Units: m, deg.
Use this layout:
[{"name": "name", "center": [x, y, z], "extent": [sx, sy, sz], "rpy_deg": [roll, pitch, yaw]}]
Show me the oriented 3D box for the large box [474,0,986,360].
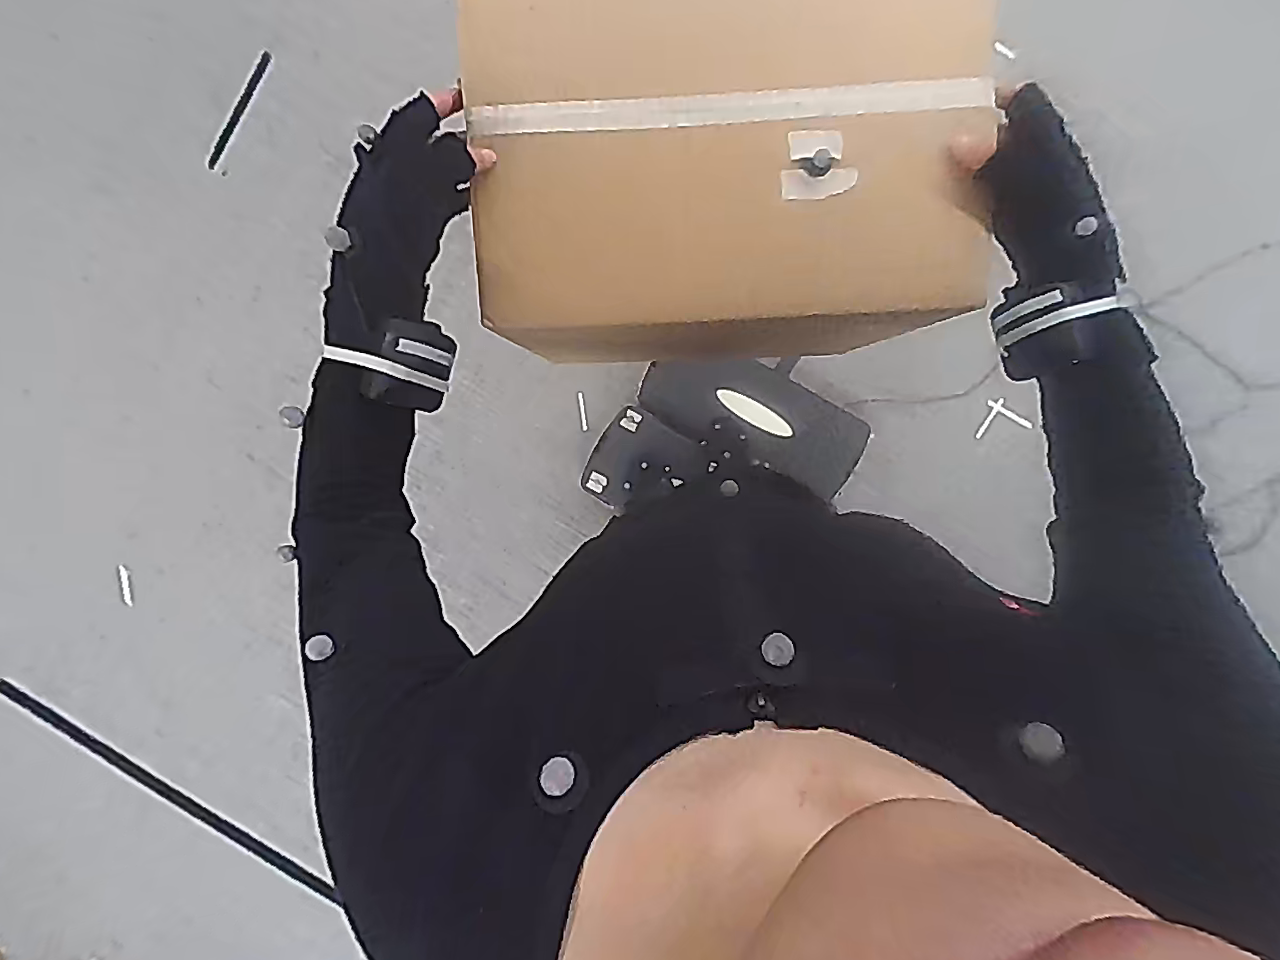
[{"name": "large box", "center": [0.071, -0.309, 0.578], "extent": [0.408, 0.320, 0.320], "rpy_deg": [-2, 97, 0]}]
